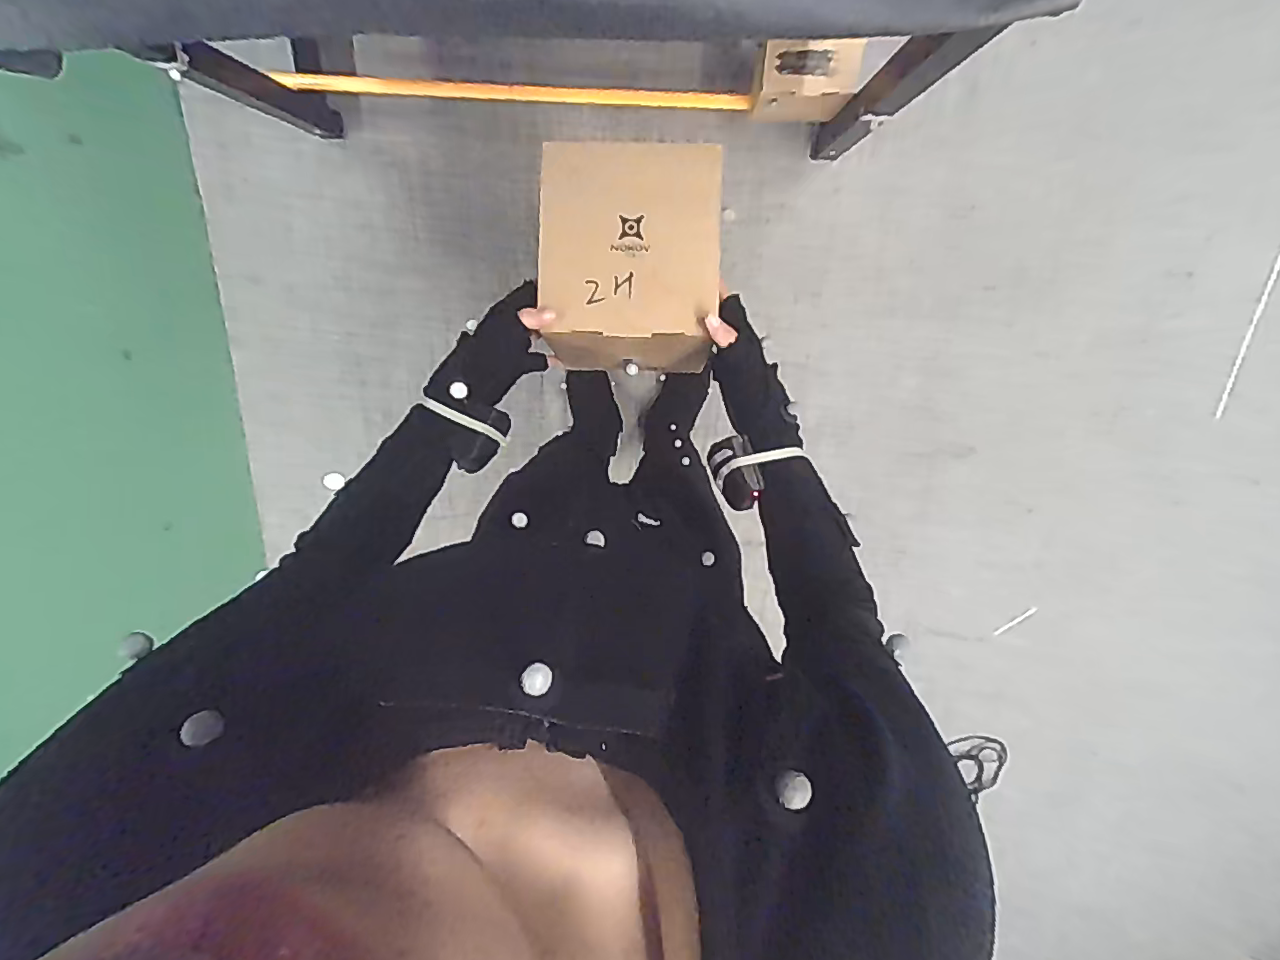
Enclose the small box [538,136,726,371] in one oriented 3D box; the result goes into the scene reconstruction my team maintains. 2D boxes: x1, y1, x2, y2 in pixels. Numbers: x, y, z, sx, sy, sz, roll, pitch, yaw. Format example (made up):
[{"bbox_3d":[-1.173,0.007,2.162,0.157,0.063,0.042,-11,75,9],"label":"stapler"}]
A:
[{"bbox_3d":[-0.005,-0.221,0.564,0.168,0.176,0.179,1,89,2],"label":"small box"}]
